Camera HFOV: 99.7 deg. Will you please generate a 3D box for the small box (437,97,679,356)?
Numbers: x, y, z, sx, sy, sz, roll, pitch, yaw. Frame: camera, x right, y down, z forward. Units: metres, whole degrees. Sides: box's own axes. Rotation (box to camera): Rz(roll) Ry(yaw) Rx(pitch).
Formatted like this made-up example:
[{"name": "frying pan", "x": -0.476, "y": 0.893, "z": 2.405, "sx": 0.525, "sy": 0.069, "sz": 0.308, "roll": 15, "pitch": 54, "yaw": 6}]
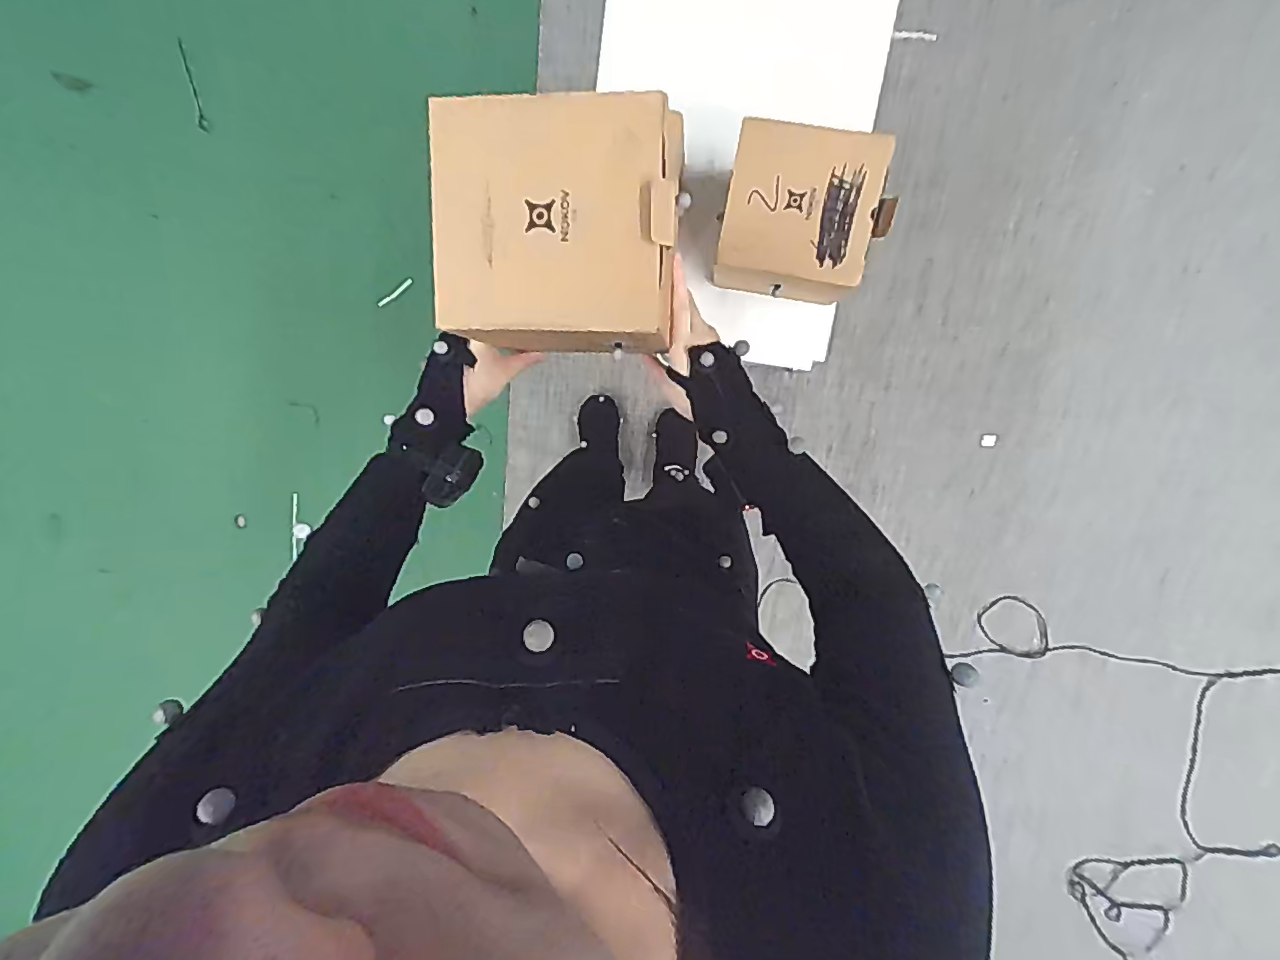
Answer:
[{"name": "small box", "x": -0.057, "y": -0.203, "z": 0.477, "sx": 0.179, "sy": 0.176, "sz": 0.168, "roll": 3, "pitch": 97, "yaw": 7}]
